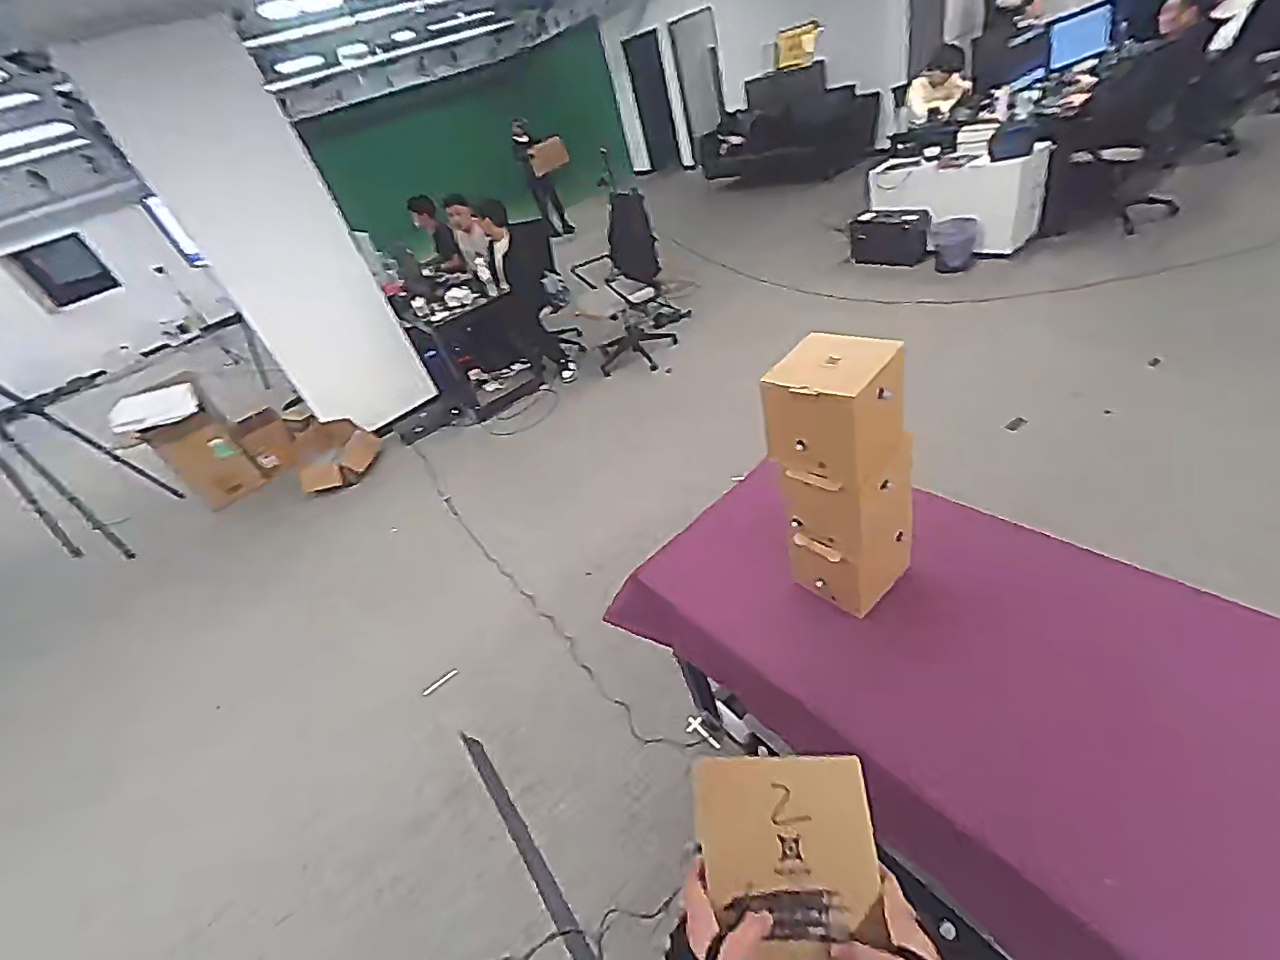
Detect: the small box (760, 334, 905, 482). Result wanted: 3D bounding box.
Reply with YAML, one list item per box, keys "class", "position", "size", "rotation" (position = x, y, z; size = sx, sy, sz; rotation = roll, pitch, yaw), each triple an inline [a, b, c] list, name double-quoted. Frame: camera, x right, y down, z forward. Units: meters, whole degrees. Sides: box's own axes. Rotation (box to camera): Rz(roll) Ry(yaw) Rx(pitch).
- class: "small box"
  position: [0.325, -0.125, 0.912]
  size: [0.168, 0.176, 0.179]
  rotation: [20, 52, 41]

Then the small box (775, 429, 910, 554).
- class: "small box"
  position: [0.376, 0.007, 0.995]
  size: [0.179, 0.176, 0.168]
  rotation: [-39, 40, -26]

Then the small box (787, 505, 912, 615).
- class: "small box"
  position: [0.420, 0.133, 1.090]
  size: [0.179, 0.176, 0.168]
  rotation: [-37, 39, -22]
